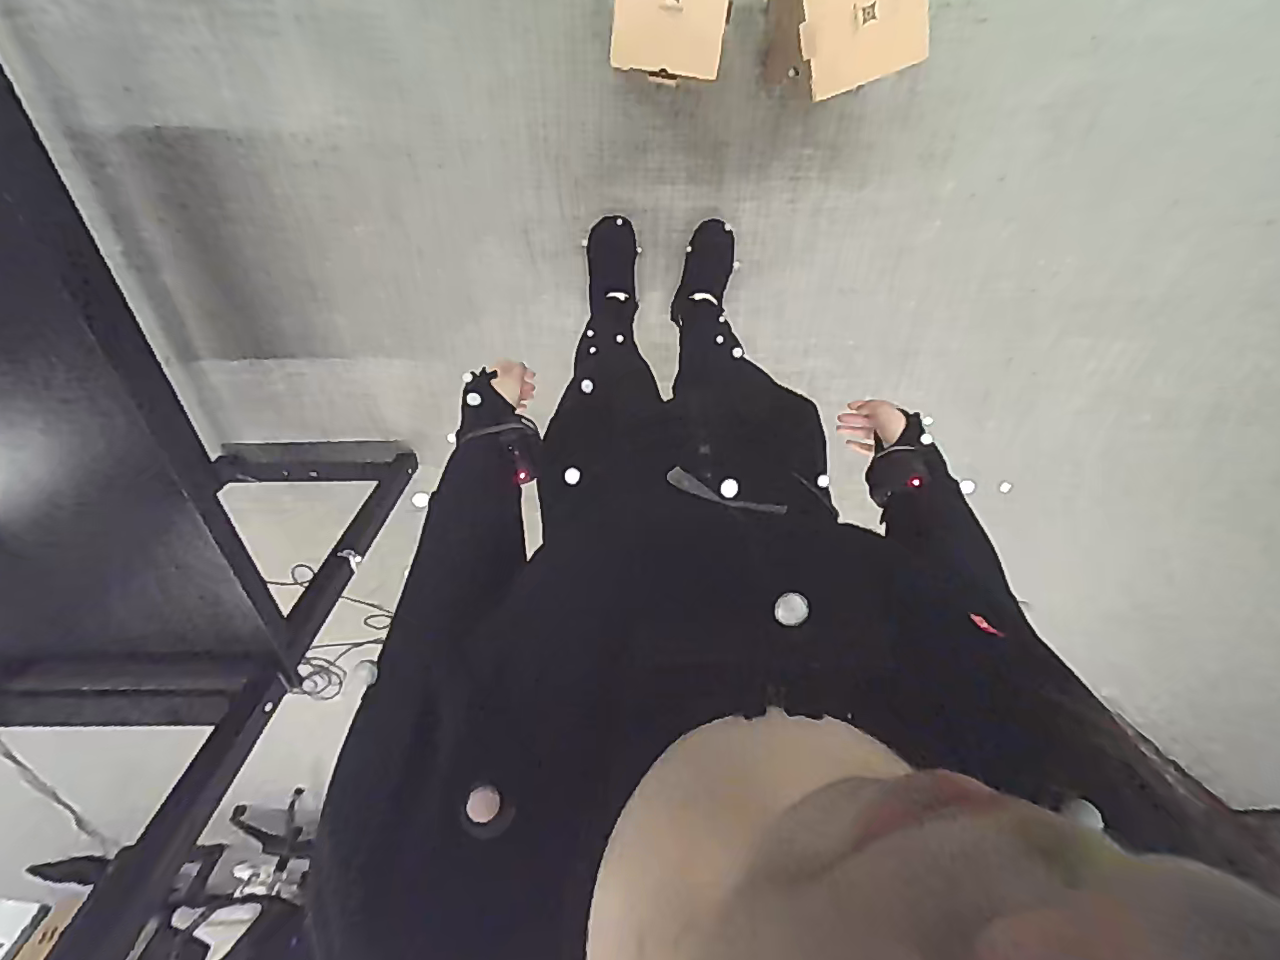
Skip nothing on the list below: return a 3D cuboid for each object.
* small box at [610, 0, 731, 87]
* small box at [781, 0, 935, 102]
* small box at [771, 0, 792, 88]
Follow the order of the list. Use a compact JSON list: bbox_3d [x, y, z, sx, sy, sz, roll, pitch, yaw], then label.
[{"bbox_3d":[0.048,-0.718,0.826,0.168,0.176,0.179,6,125,-3],"label":"small box"},{"bbox_3d":[0.326,-0.708,0.833,0.179,0.176,0.168,-17,125,11],"label":"small box"},{"bbox_3d":[0.334,-0.810,0.960,0.179,0.176,0.168,-6,125,3],"label":"small box"}]
